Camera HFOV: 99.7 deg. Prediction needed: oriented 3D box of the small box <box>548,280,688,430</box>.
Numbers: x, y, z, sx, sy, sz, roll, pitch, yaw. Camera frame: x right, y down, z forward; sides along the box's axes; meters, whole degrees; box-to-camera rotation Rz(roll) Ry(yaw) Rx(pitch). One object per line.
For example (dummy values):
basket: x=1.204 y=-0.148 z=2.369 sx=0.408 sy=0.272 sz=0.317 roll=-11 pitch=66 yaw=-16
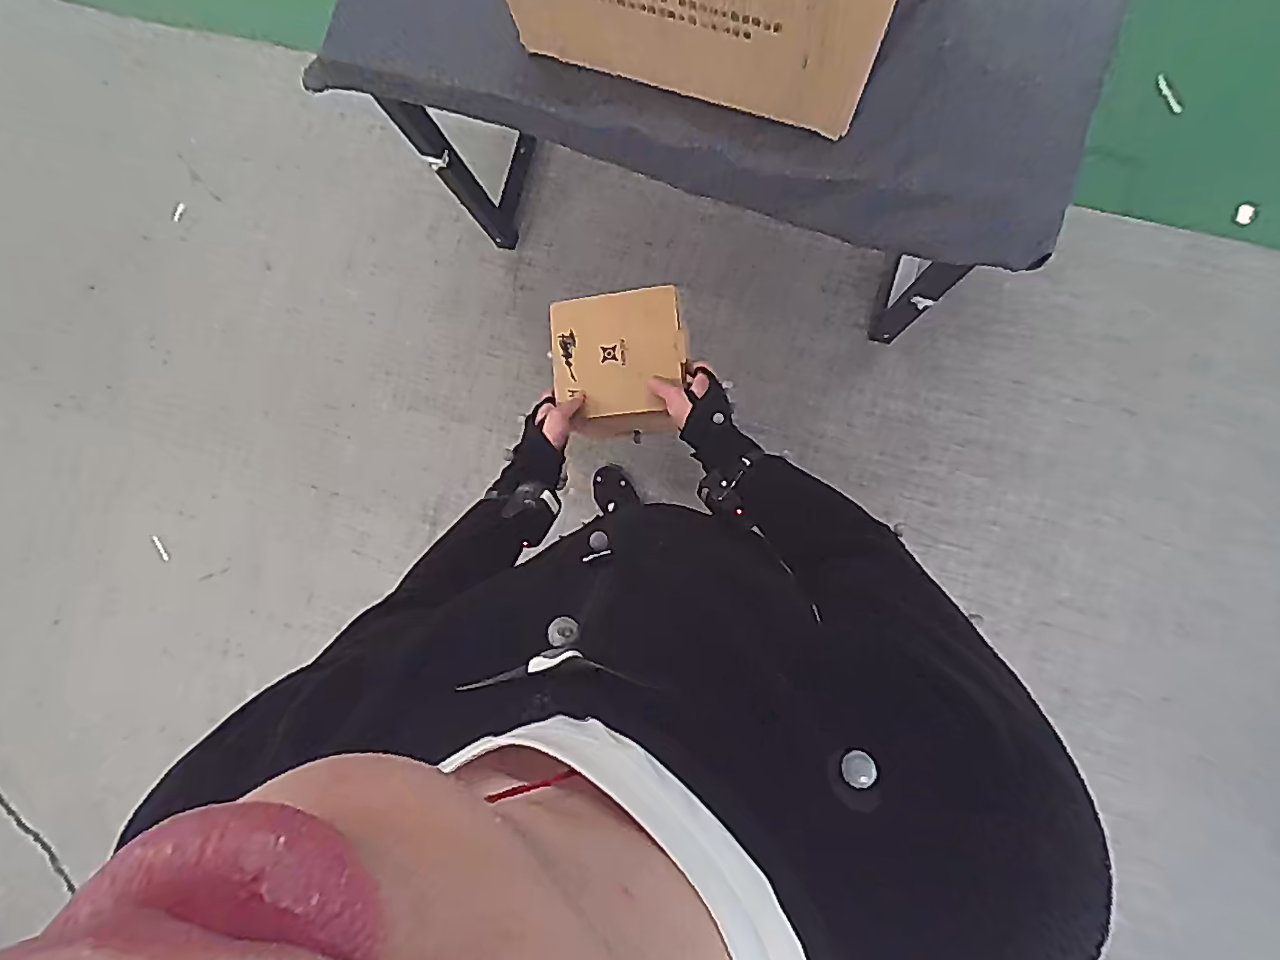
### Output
small box: x=-0.022 y=-0.171 z=0.788 sx=0.179 sy=0.176 sz=0.168 roll=-4 pitch=85 yaw=9
